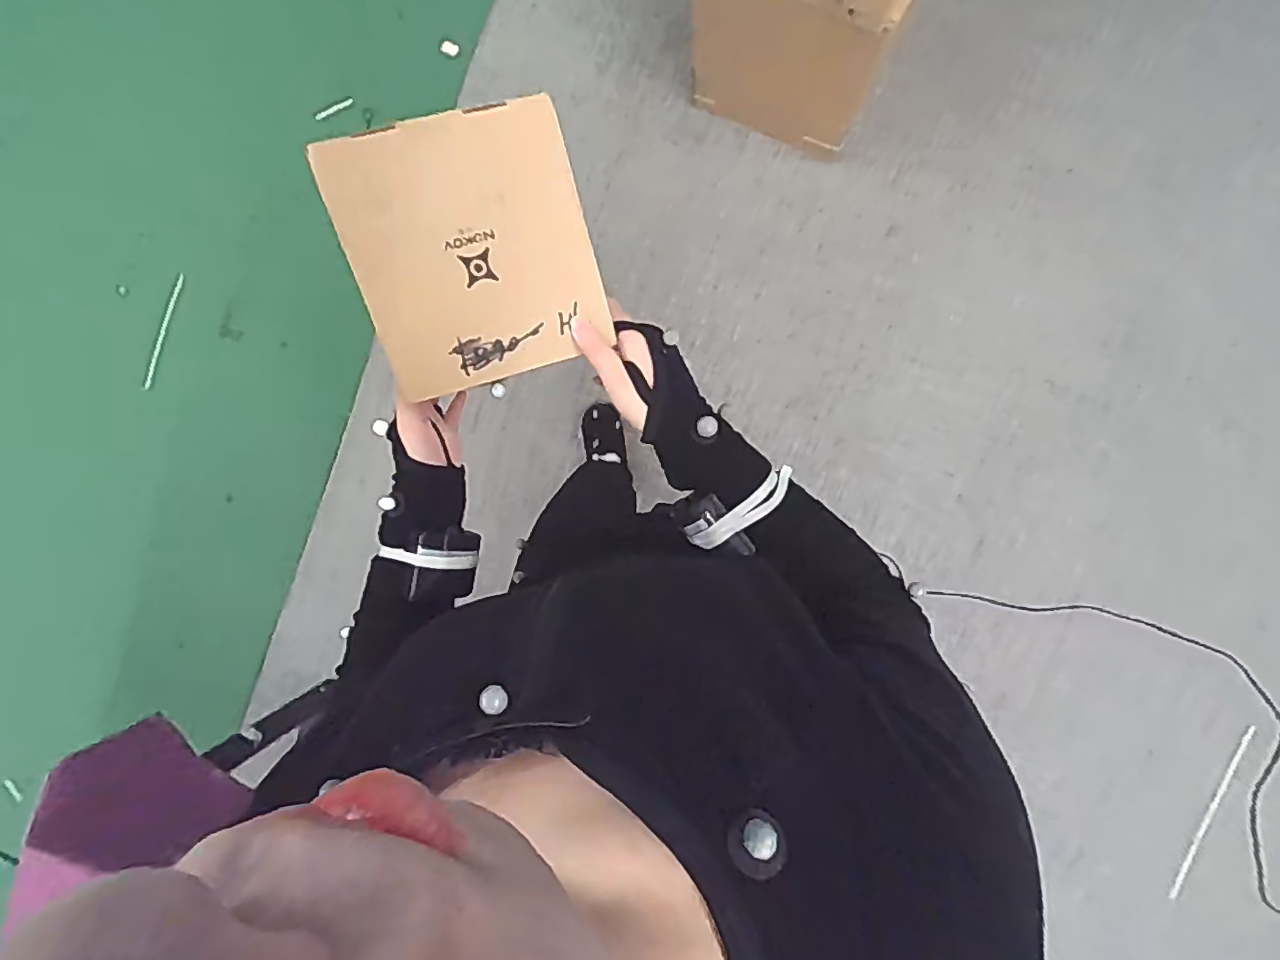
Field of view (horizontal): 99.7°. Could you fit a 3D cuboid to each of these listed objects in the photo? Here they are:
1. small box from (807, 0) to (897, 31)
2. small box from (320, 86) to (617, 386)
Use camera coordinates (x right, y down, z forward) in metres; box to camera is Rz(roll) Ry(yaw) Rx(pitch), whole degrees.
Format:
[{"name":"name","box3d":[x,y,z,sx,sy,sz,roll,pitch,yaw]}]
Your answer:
[{"name":"small box","box3d":[0.382,-0.896,0.870,0.168,0.176,0.179,29,94,5]},{"name":"small box","box3d":[-0.130,-0.188,0.461,0.168,0.176,0.179,-17,107,-6]}]
